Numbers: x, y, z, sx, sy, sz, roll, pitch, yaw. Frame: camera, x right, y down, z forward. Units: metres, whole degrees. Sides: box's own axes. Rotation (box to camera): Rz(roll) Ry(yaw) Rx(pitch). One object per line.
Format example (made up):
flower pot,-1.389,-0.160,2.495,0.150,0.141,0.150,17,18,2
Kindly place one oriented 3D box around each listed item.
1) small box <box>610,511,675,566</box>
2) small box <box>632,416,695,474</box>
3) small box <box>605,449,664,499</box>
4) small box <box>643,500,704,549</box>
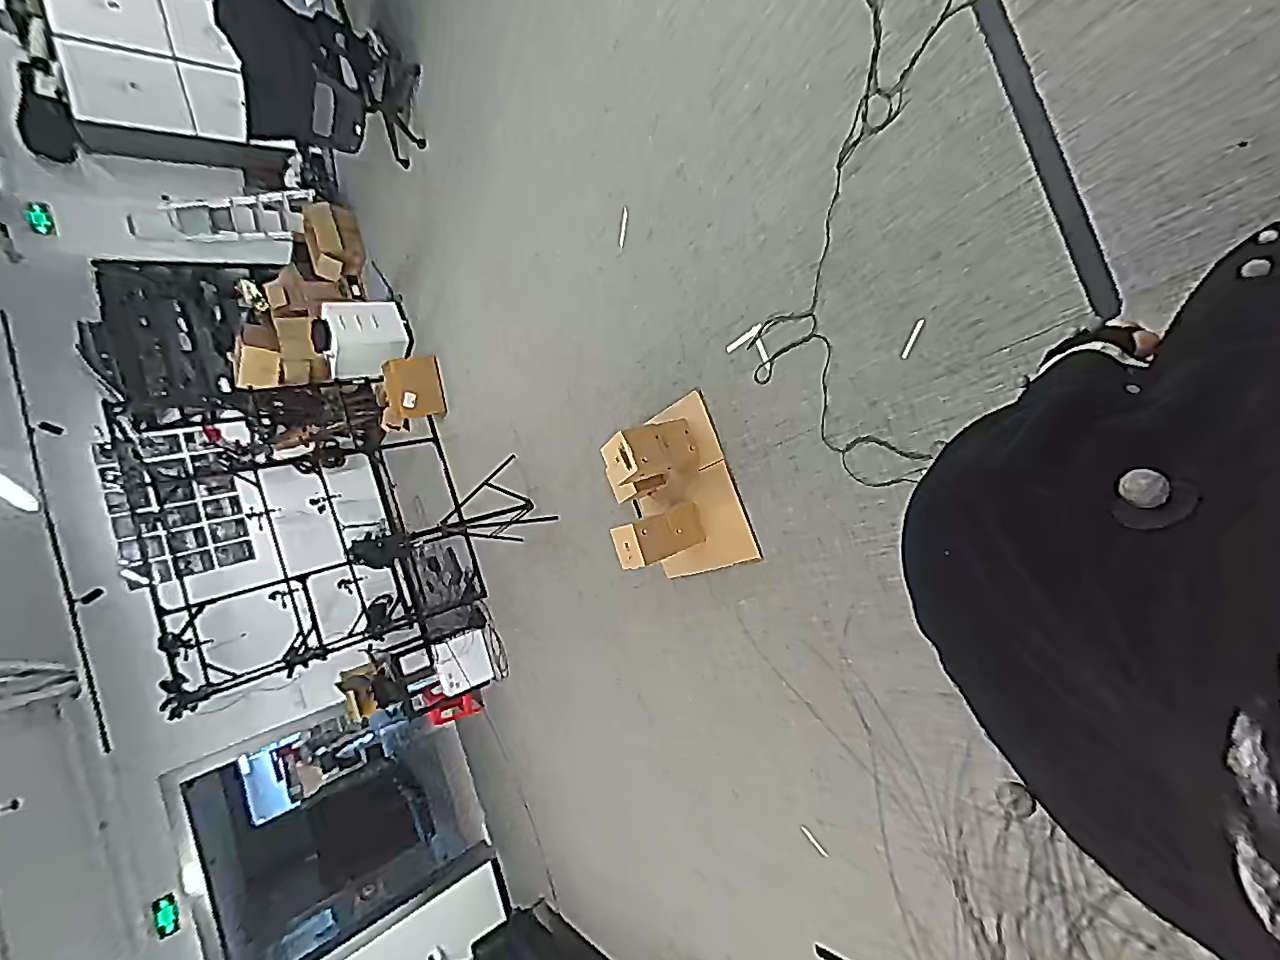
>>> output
small box,0.012,0.229,2.160,0.168,0.176,0.179,-19,88,53
small box,0.101,-0.144,2.184,0.179,0.176,0.168,-34,76,52
small box,-0.023,-0.035,2.387,0.168,0.176,0.179,-34,76,53
small box,0.139,0.190,2.258,0.168,0.176,0.179,-21,87,53
